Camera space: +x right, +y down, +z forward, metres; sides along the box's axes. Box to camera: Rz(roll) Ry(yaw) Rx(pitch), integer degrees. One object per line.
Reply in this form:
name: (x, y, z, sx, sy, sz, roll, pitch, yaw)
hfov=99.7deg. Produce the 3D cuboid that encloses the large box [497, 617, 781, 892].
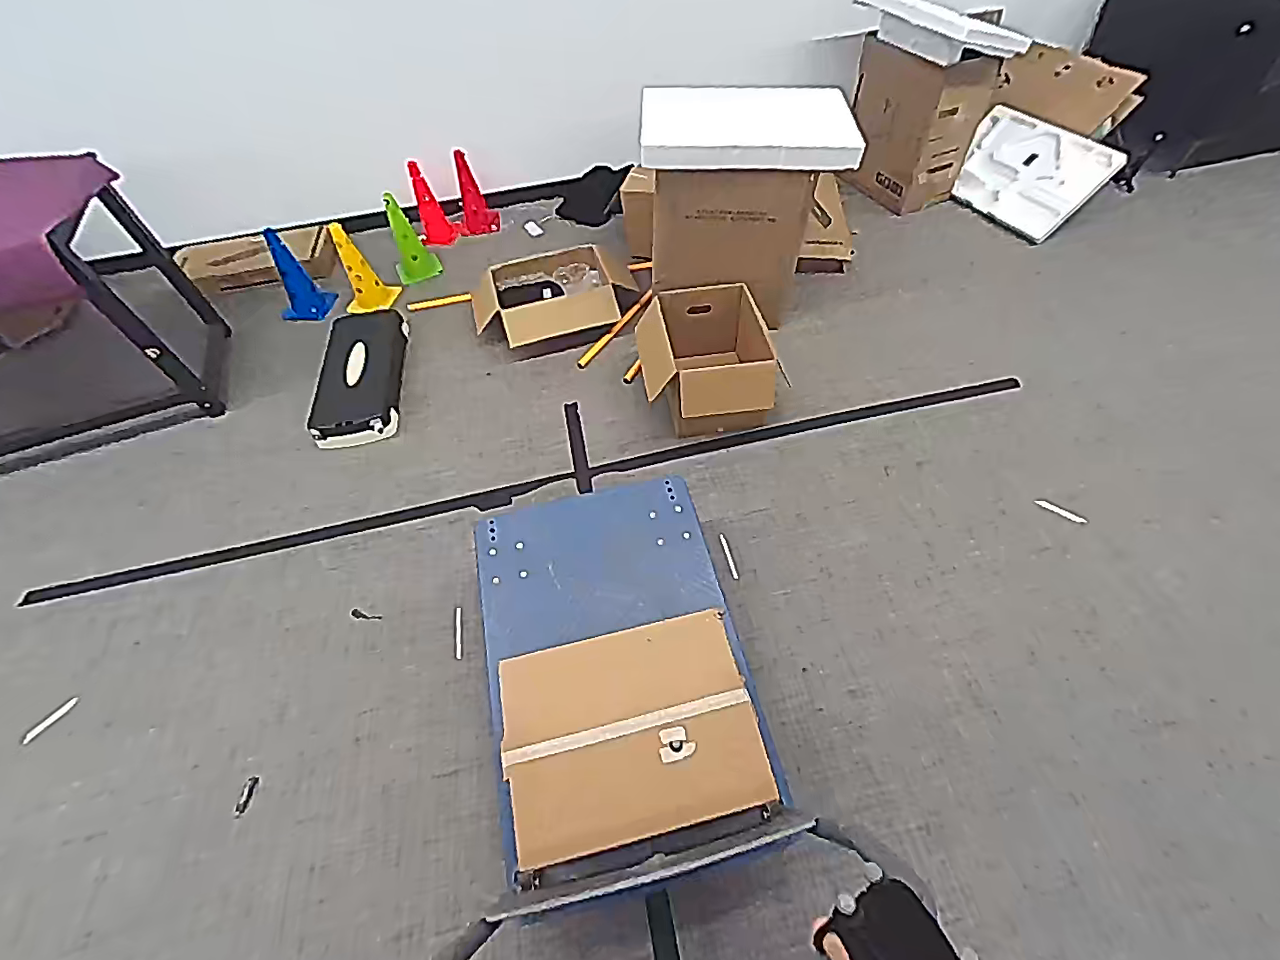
large box: (-0.013, 0.491, 0.988, 0.408, 0.320, 0.320, -12, 60, -7)
